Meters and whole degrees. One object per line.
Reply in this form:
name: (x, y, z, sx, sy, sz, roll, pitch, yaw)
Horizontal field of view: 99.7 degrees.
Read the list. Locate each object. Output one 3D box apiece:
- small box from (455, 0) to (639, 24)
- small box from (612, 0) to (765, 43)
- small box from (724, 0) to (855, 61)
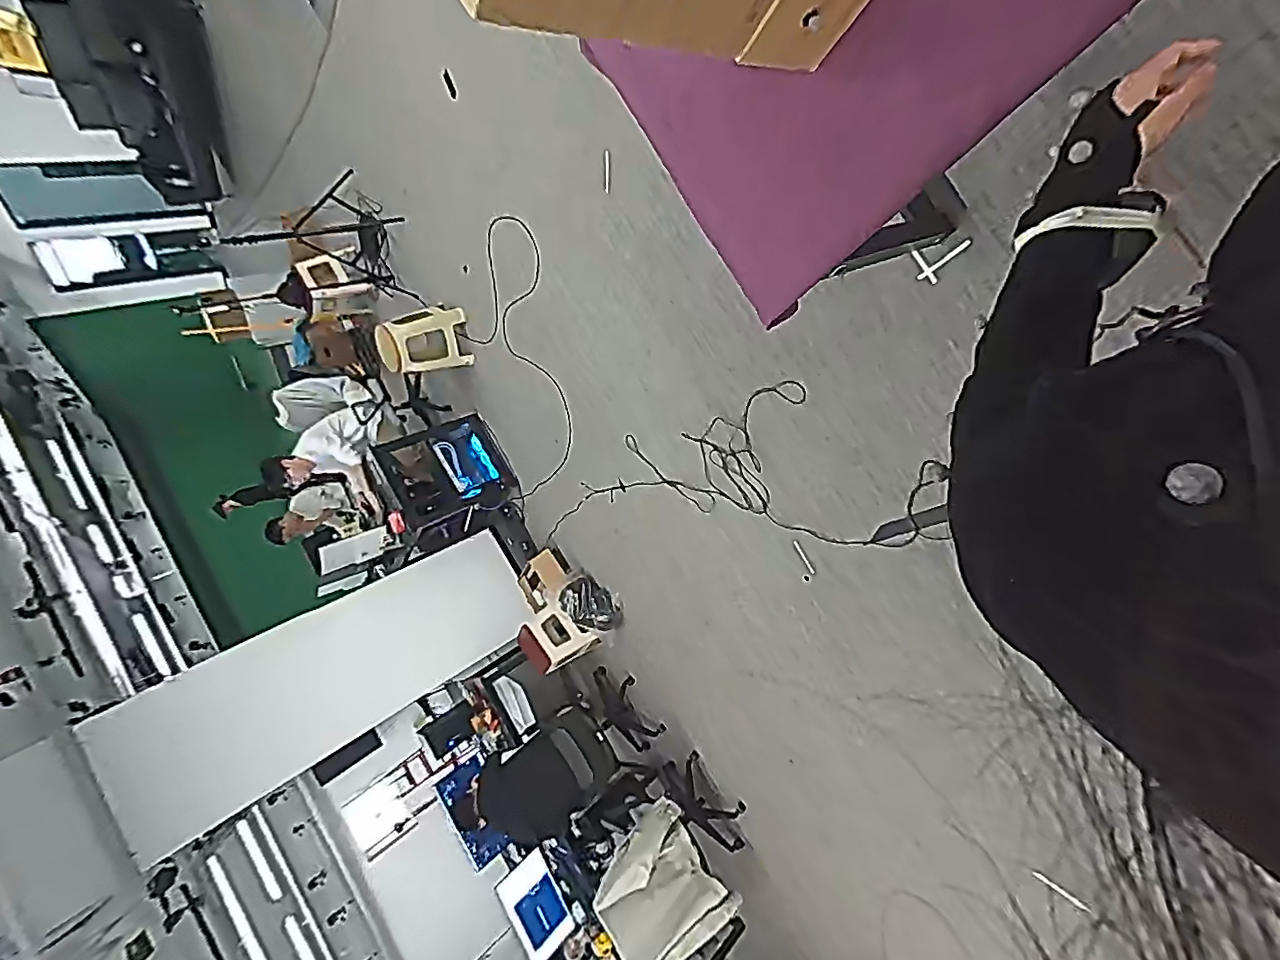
small box: (-0.077, -0.487, 0.401, 0.179, 0.176, 0.168, 60, 145, 3)
small box: (0.039, -0.549, 0.500, 0.179, 0.176, 0.168, 61, 145, 4)
small box: (0.161, -0.606, 0.594, 0.179, 0.176, 0.168, 61, 145, 3)
